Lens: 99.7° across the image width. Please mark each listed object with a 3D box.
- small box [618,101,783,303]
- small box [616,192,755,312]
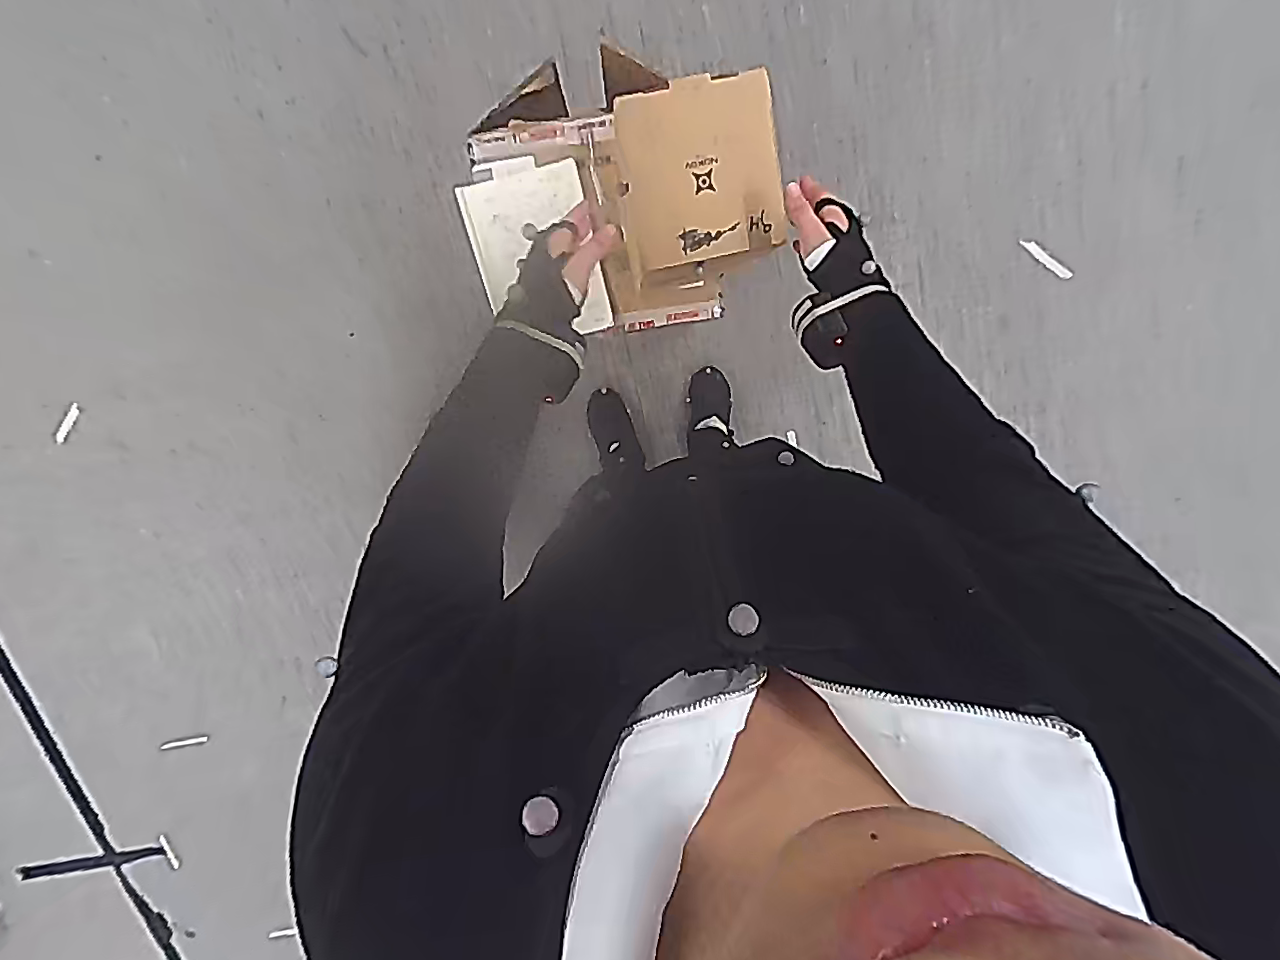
[{"bbox_3d":[0.066,-0.333,0.682,0.168,0.176,0.179,-11,104,0],"label":"small box"},{"bbox_3d":[0.064,-0.366,0.842,0.179,0.176,0.168,-14,105,2],"label":"small box"}]
